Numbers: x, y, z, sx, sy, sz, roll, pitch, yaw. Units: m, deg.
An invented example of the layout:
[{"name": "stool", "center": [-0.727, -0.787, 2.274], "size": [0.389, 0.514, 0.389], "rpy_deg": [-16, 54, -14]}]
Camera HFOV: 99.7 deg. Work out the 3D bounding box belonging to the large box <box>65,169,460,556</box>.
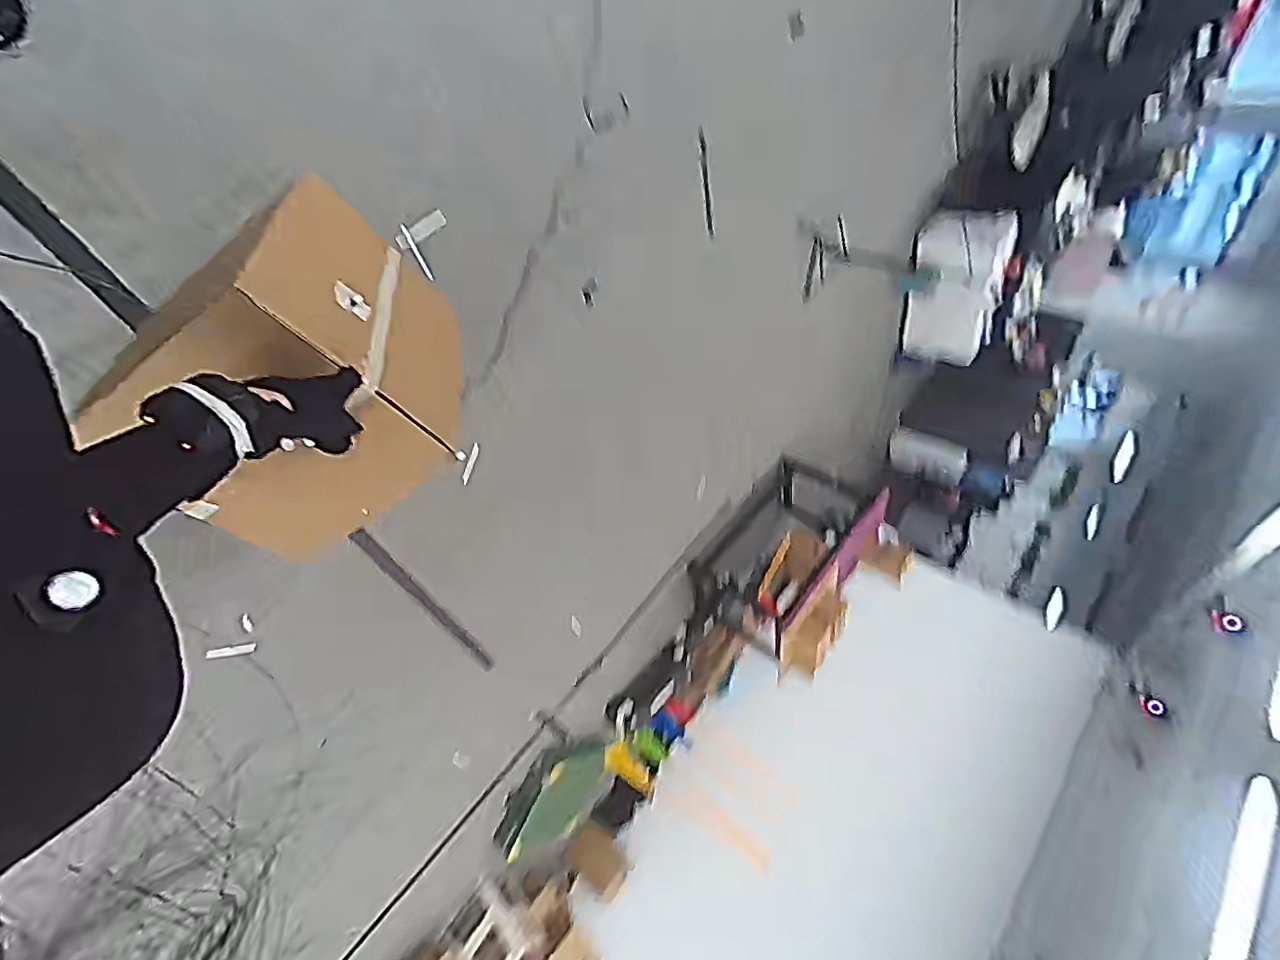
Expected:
[{"name": "large box", "center": [-0.493, -0.169, 0.803], "size": [0.320, 0.408, 0.320], "rpy_deg": [-31, 136, 16]}]
